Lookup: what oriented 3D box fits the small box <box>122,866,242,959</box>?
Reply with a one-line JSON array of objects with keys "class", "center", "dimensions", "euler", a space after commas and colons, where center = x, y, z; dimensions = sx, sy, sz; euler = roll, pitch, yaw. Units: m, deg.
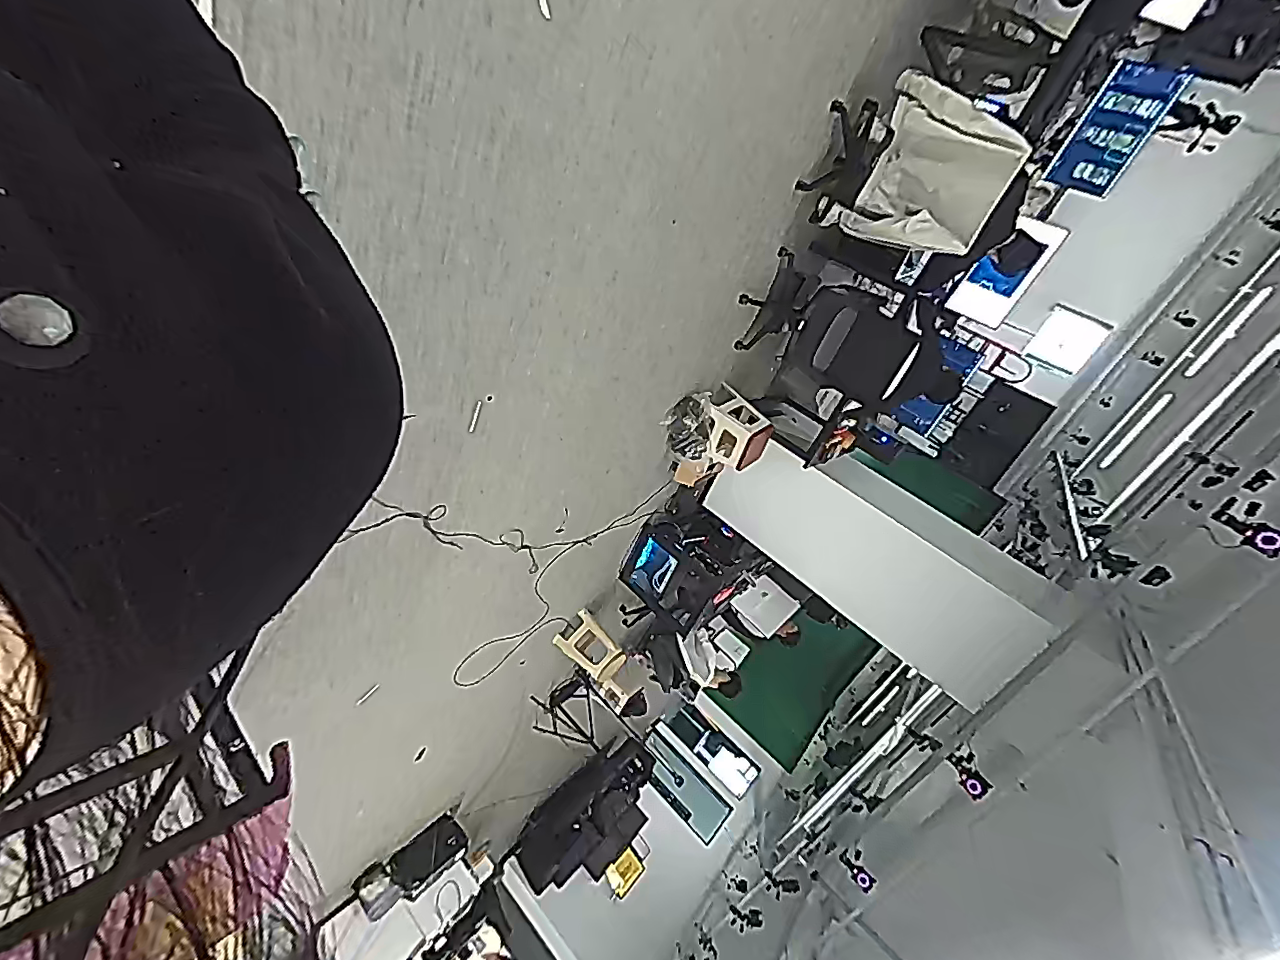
[{"class": "small box", "center": [-1.043, 1.045, 1.233], "dimensions": [0.179, 0.176, 0.168], "euler": [-18, 141, -51]}]
